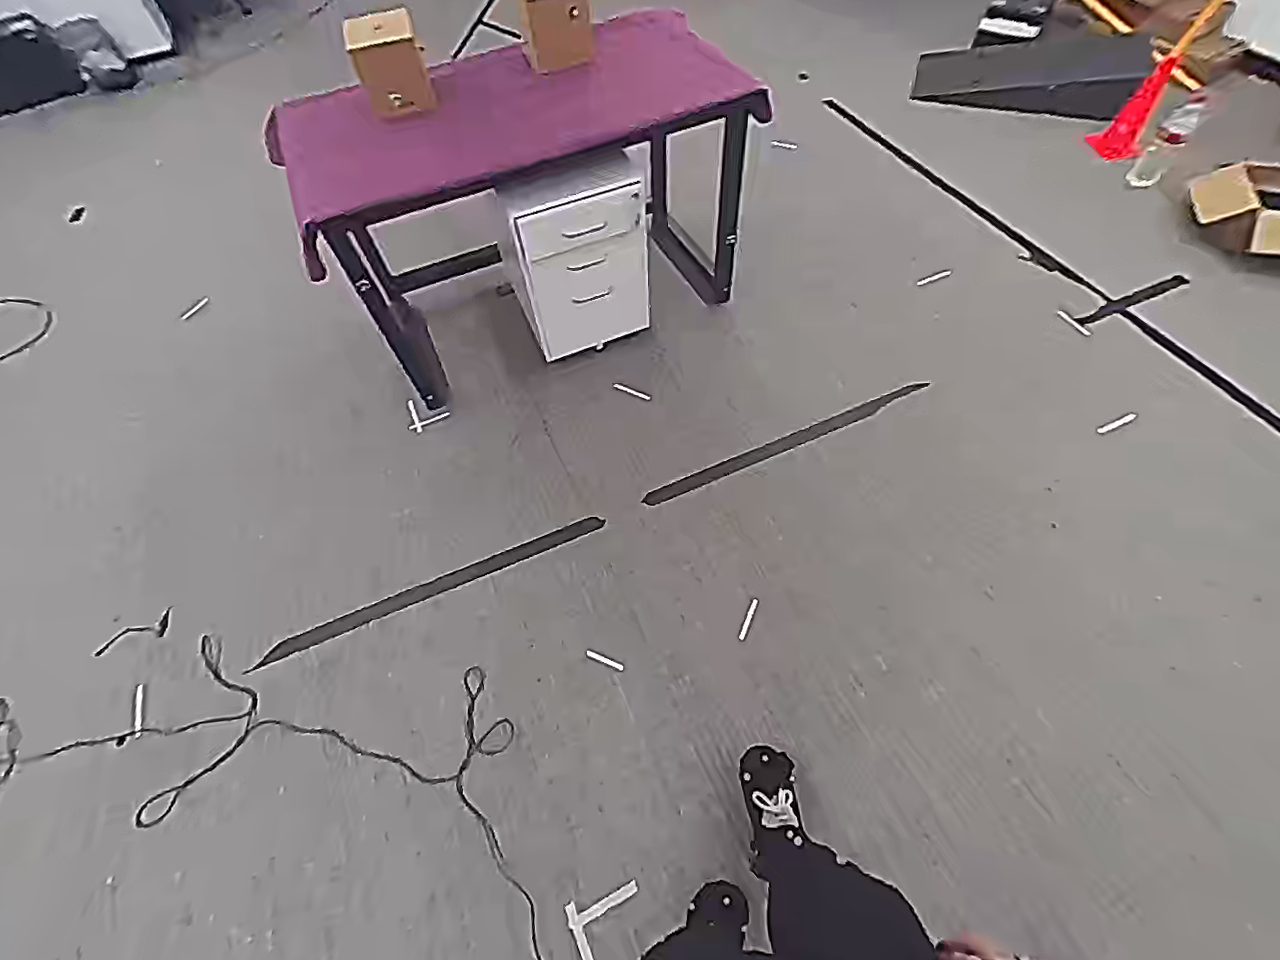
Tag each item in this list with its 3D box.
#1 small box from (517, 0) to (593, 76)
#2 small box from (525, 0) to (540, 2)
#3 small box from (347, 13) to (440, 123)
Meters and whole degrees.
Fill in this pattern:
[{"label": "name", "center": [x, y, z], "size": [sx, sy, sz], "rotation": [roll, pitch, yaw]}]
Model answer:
[{"label": "small box", "center": [-0.237, -1.284, 1.525], "size": [0.179, 0.176, 0.168], "rotation": [-20, 60, -8]}, {"label": "small box", "center": [-0.247, -1.368, 1.385], "size": [0.179, 0.176, 0.168], "rotation": [-19, 61, -7]}, {"label": "small box", "center": [-0.652, -1.093, 1.438], "size": [0.168, 0.176, 0.179], "rotation": [-18, 62, -6]}]
